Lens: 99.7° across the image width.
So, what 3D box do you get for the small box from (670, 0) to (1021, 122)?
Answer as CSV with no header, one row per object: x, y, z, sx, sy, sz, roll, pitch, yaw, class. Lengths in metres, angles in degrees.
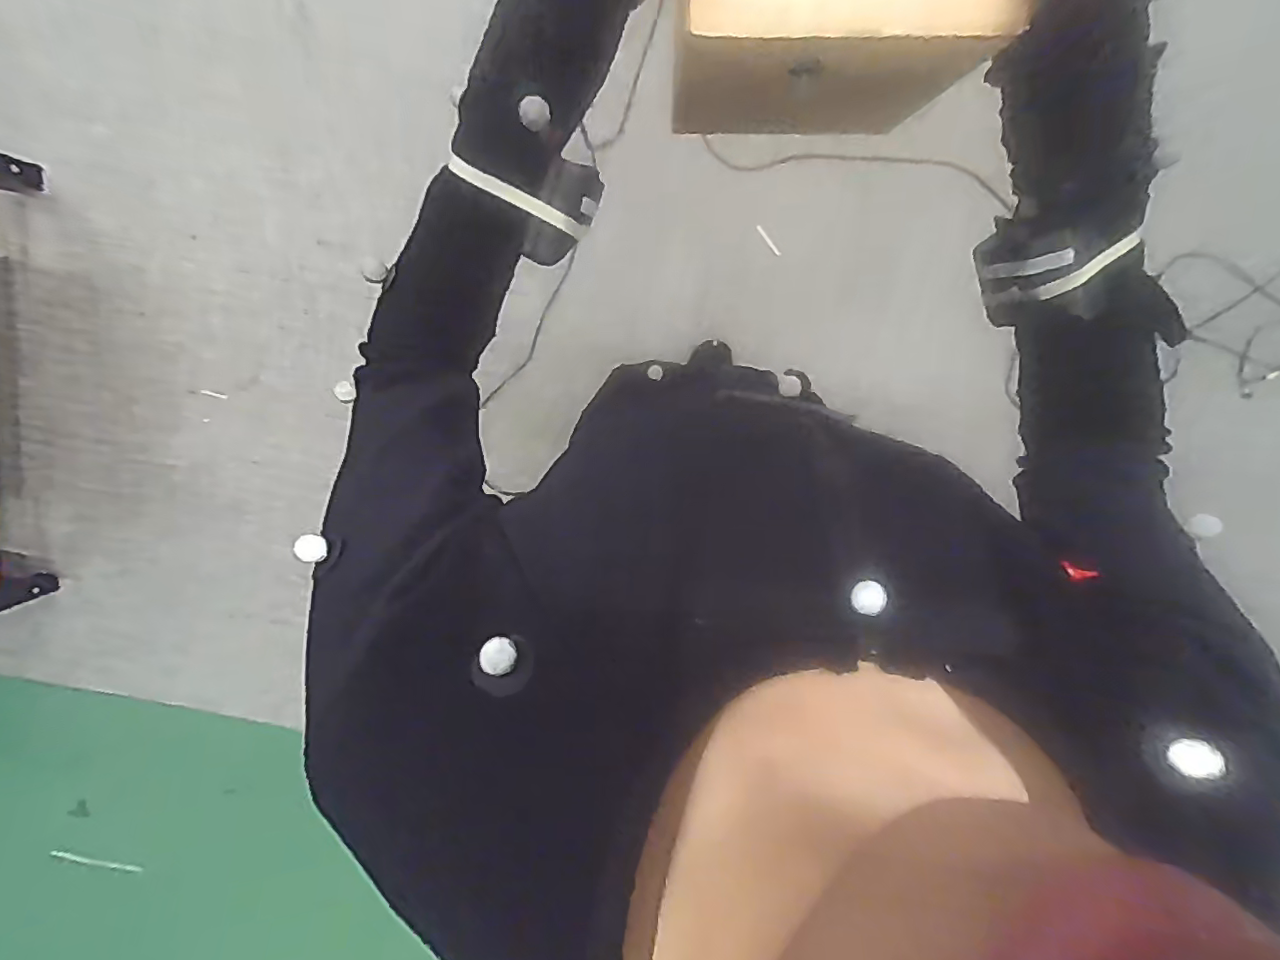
0.109,-0.339,0.331,0.179,0.176,0.168,0,108,0,small box
